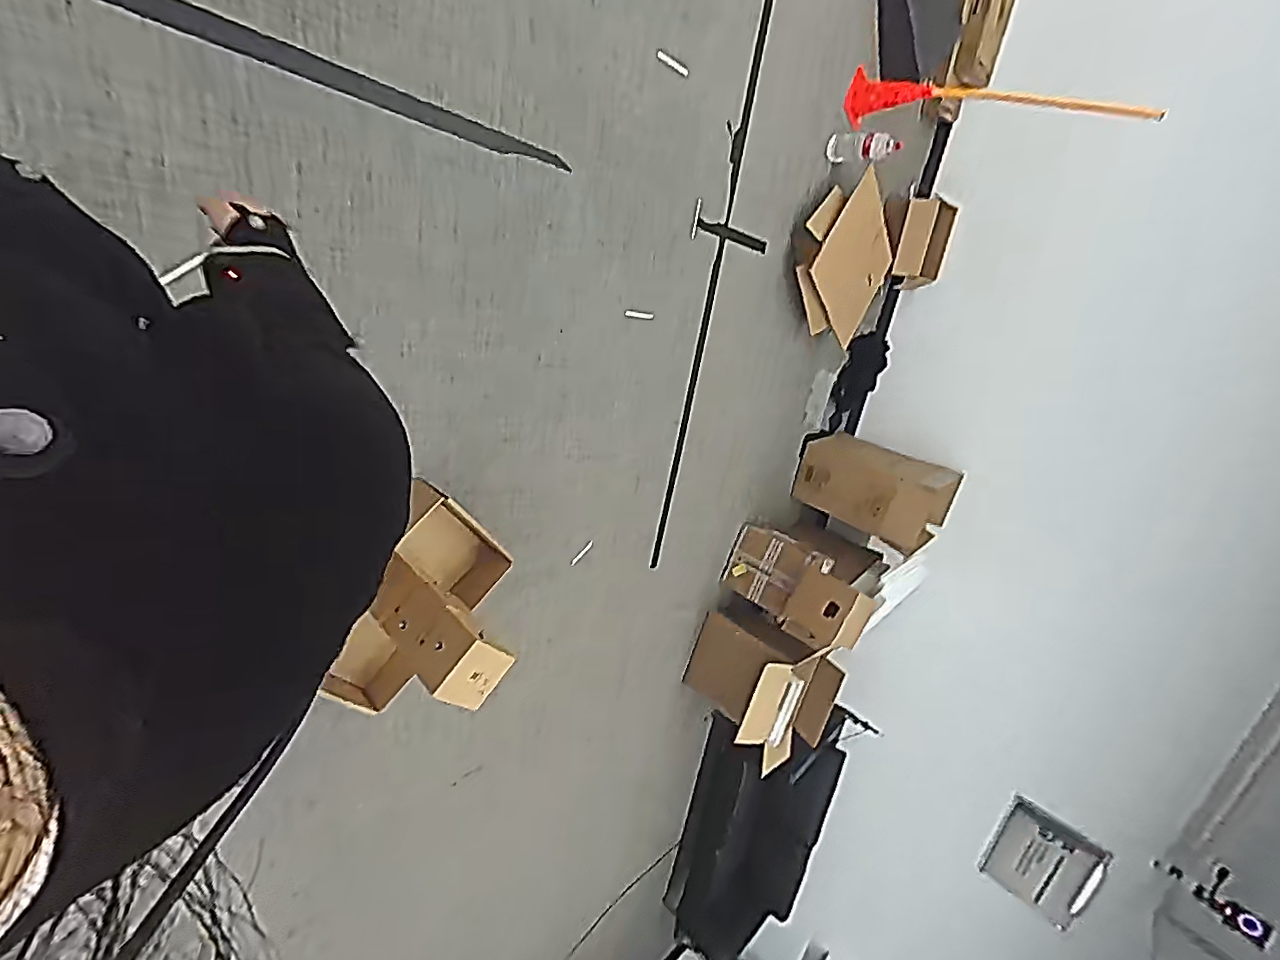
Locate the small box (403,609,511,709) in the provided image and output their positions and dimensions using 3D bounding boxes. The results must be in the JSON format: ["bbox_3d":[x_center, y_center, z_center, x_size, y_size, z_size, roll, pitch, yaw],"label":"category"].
[{"bbox_3d":[-0.485,0.465,1.425,0.168,0.176,0.179,-51,140,-12],"label":"small box"}]

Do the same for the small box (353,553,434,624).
[{"bbox_3d":[-0.717,0.348,1.624,0.168,0.176,0.179,-50,140,-17],"label":"small box"}]

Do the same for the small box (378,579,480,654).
[{"bbox_3d":[-0.598,0.403,1.528,0.168,0.176,0.179,-51,142,-13],"label":"small box"}]
